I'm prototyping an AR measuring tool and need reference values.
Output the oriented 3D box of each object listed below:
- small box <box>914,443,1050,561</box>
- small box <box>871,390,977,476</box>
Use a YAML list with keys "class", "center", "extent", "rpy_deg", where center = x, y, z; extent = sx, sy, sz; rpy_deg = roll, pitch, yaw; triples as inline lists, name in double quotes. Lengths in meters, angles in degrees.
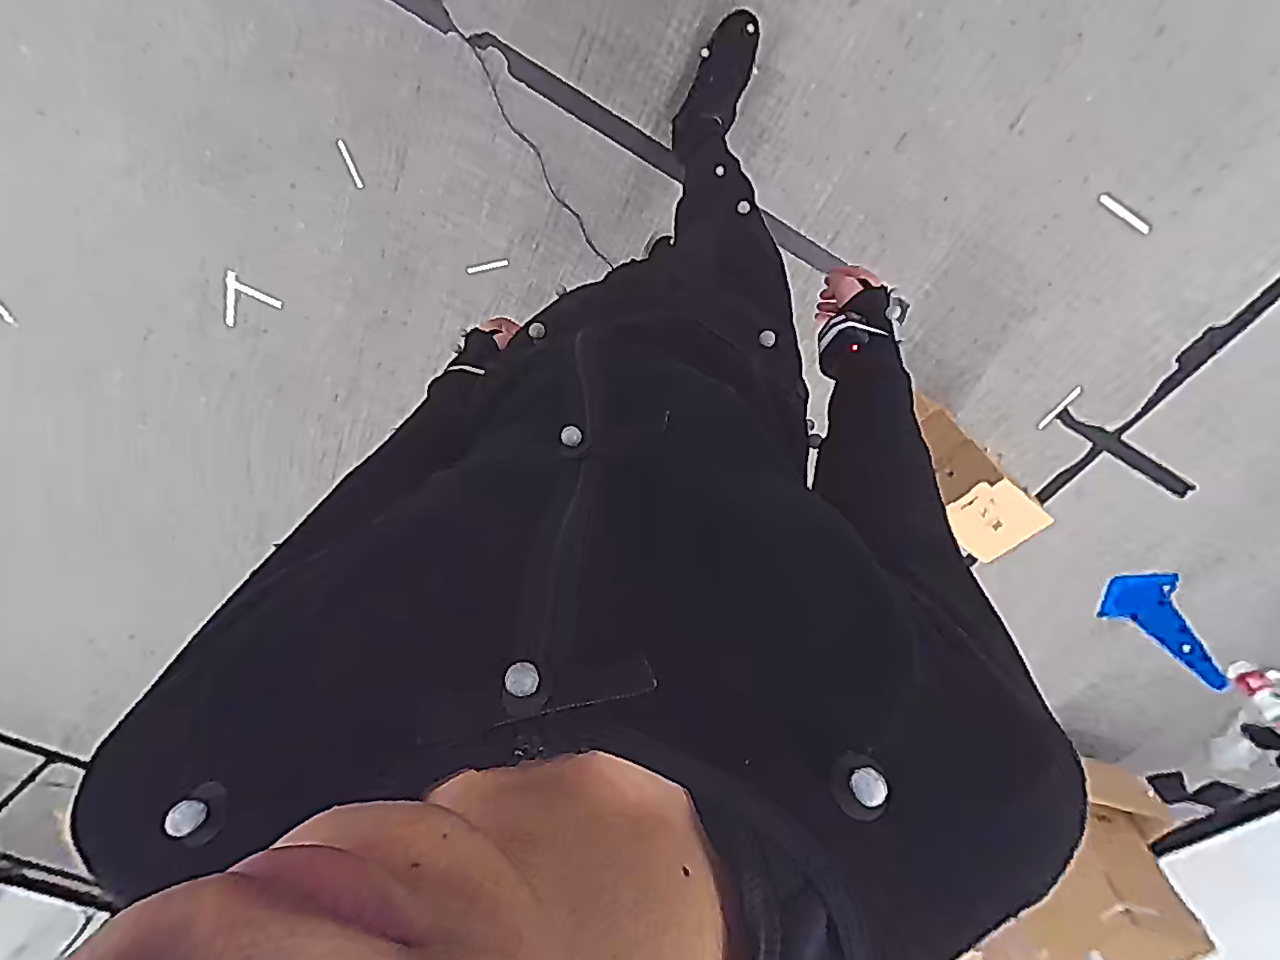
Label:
- class: "small box"
  center: [0.769, 0.046, 1.234]
  extent: [0.179, 0.176, 0.168]
  rpy_deg: [35, 120, -15]
- class: "small box"
  center: [0.783, -0.129, 1.514]
  extent: [0.179, 0.176, 0.168]
  rpy_deg: [29, 121, -13]
